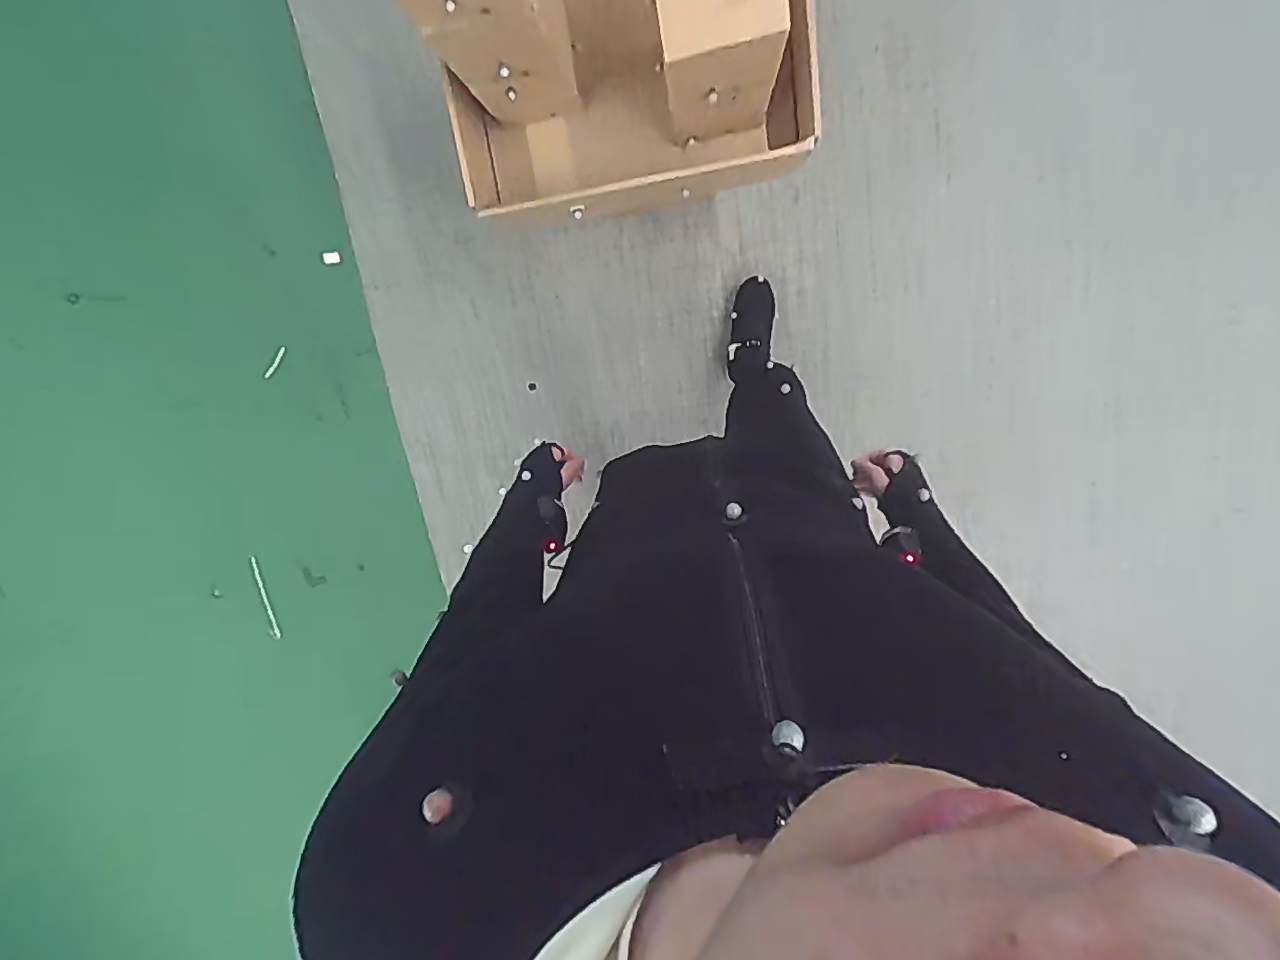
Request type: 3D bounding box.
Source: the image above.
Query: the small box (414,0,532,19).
[{"bbox_3d":[-0.228,-0.682,0.617,0.168,0.176,0.179,-2,105,6],"label":"small box"}]

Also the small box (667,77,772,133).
[{"bbox_3d":[0.125,-0.713,0.909,0.168,0.176,0.179,-7,103,8],"label":"small box"}]

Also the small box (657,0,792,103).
[{"bbox_3d":[0.108,-0.671,0.753,0.168,0.176,0.179,-8,104,8],"label":"small box"}]

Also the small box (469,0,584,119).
[{"bbox_3d":[-0.199,-0.763,0.932,0.168,0.176,0.179,-5,104,7],"label":"small box"}]

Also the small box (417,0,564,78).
[{"bbox_3d":[-0.214,-0.722,0.774,0.168,0.176,0.179,-3,104,8],"label":"small box"}]
